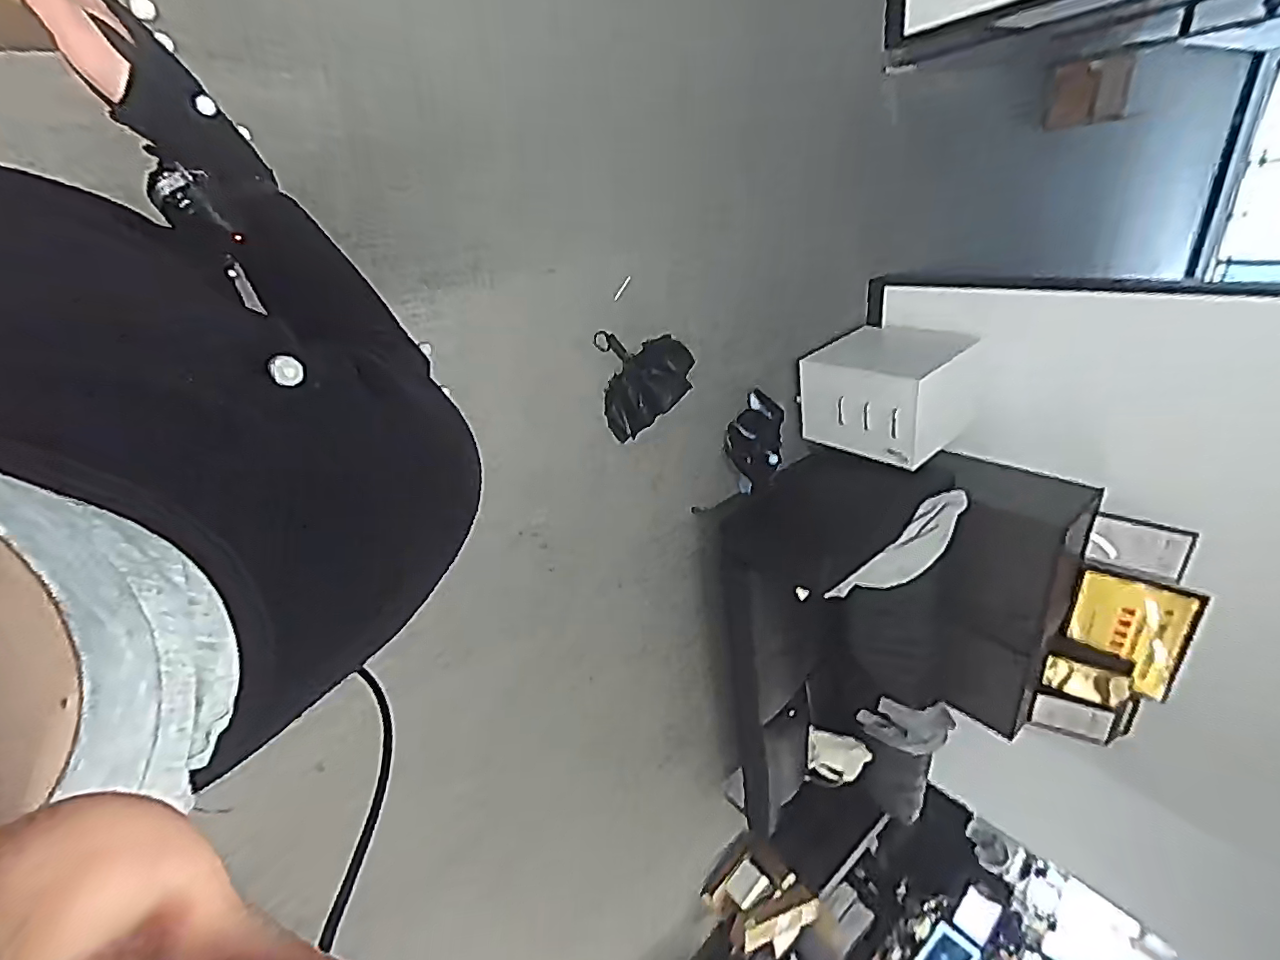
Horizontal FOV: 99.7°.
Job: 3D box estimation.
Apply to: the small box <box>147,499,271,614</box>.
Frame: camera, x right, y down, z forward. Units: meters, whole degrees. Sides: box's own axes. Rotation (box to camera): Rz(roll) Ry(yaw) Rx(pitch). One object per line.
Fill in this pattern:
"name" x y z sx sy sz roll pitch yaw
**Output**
"small box" -1.003 0.172 1.268 0.168 0.176 0.179 -31 123 -27
